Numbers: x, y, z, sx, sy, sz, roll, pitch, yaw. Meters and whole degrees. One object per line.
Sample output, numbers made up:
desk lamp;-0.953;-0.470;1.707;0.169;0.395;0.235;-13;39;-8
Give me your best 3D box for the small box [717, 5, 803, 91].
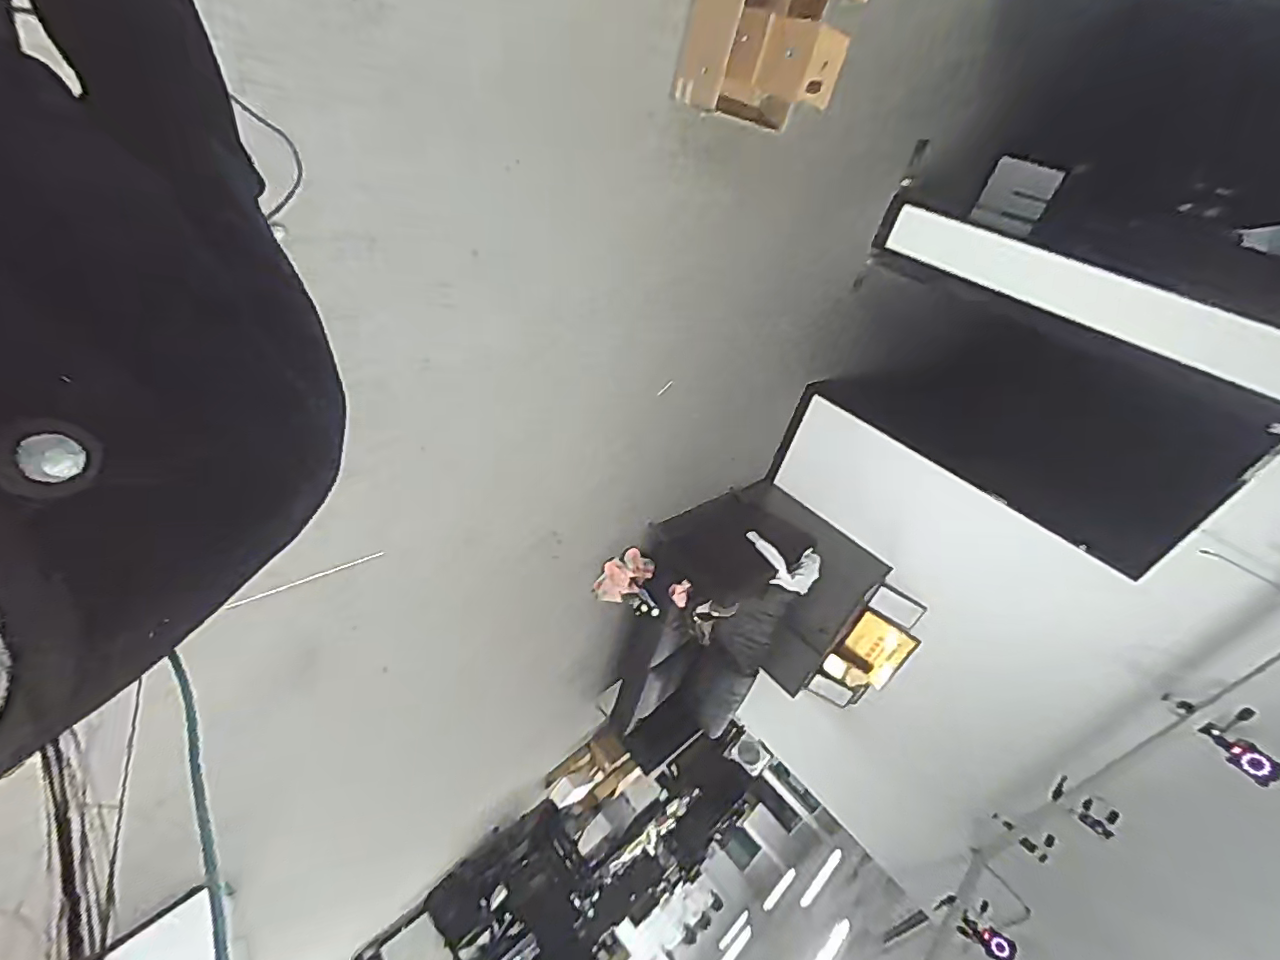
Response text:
small box;0.362;-1.326;1.658;0.168;0.176;0.179;-19;136;-38
